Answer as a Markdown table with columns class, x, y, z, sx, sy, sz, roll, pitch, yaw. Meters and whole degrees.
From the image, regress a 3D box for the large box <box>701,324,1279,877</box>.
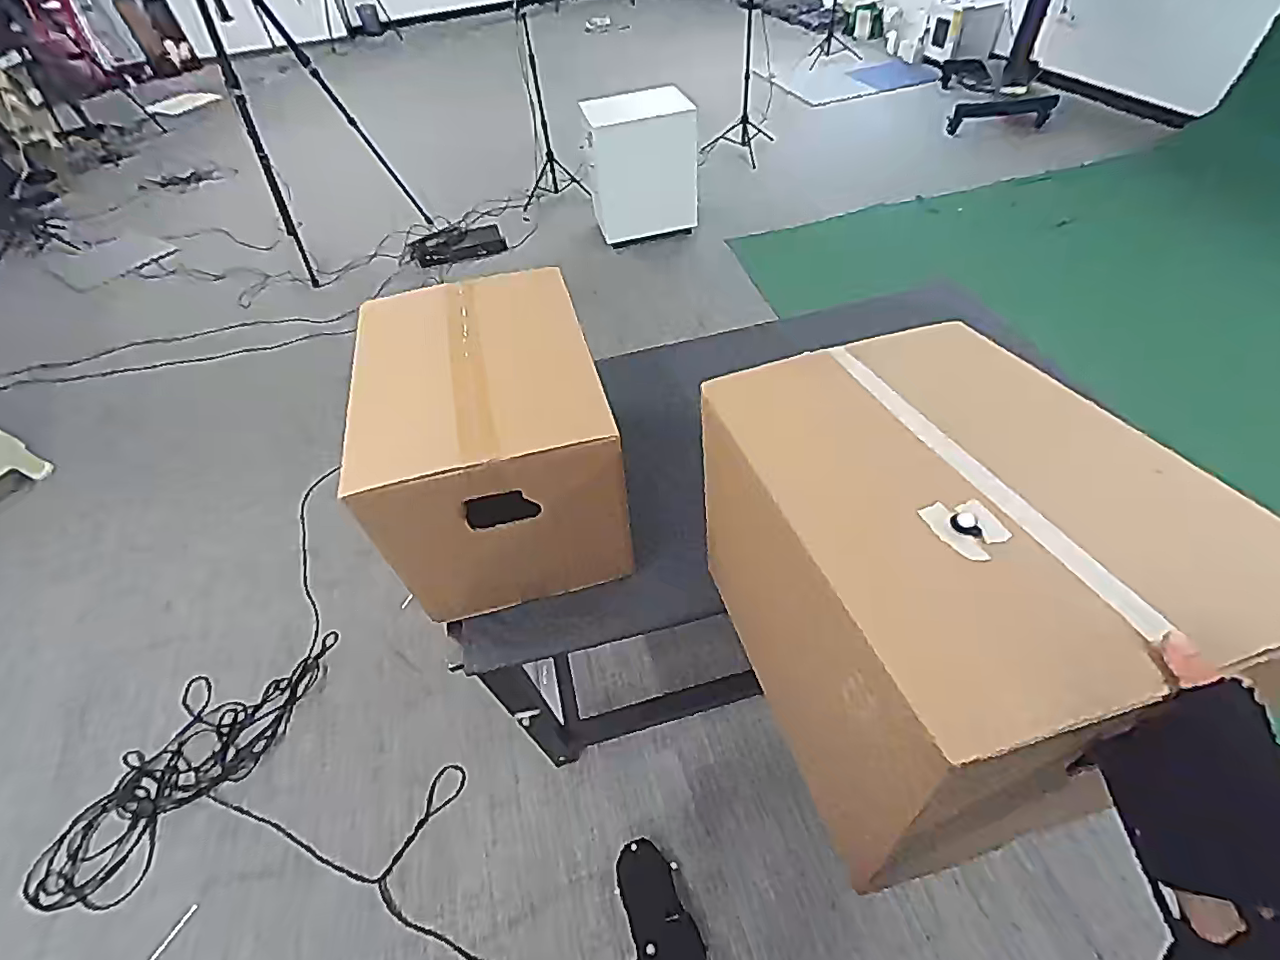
| class | x | y | z | sx | sy | sz | roll | pitch | yaw |
| --- | --- | --- | --- | --- | --- | --- | --- | --- | --- |
| large box | 0.273 | 0.093 | 0.550 | 0.320 | 0.320 | 0.408 | -15 | 43 | -6 |
